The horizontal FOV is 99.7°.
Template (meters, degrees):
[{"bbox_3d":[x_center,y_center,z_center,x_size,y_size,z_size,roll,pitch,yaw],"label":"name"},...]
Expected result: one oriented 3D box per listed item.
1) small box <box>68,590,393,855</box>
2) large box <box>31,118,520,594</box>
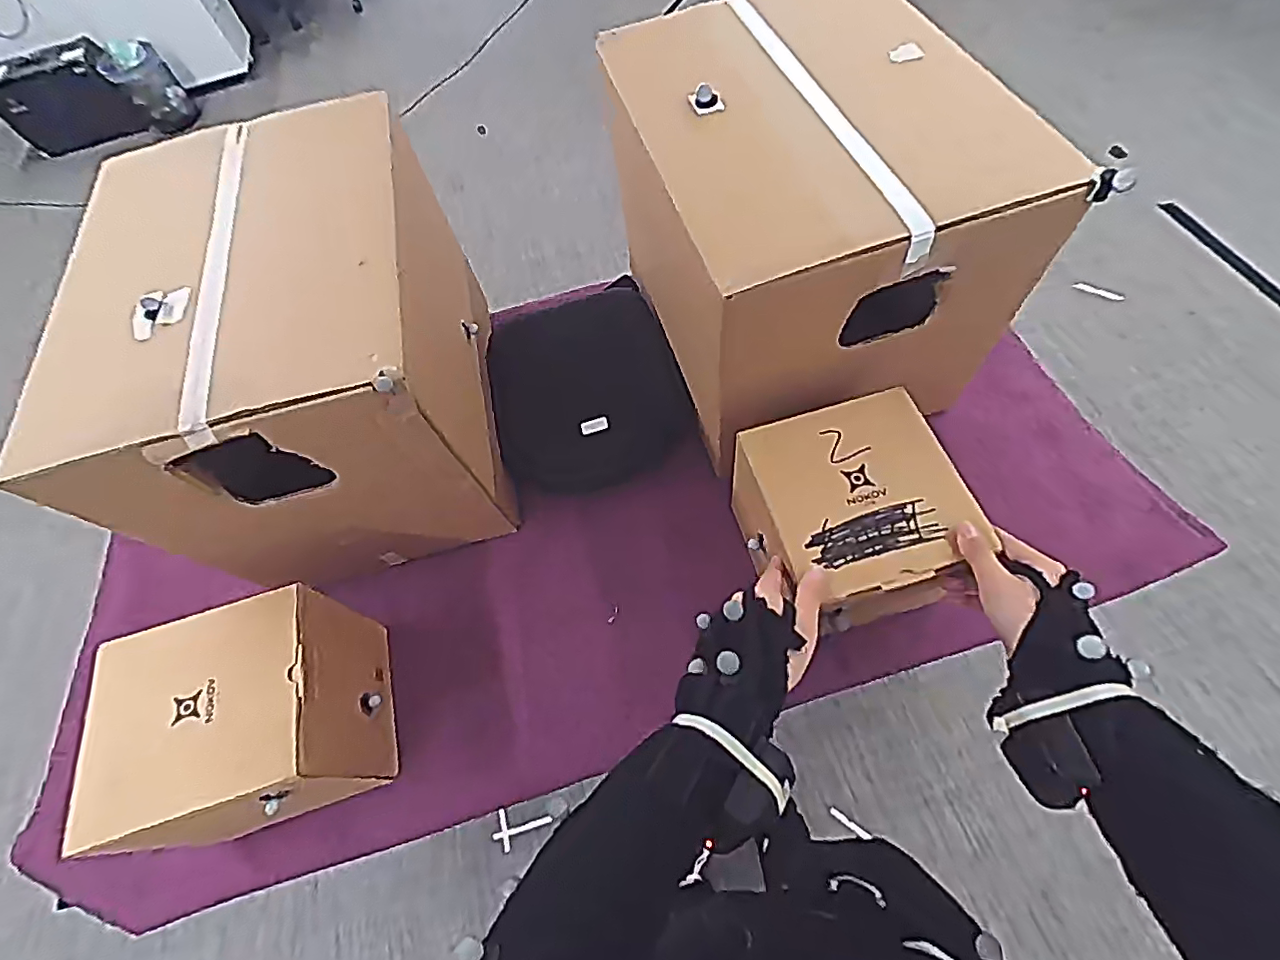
[{"bbox_3d":[-0.367,0.233,0.522,0.179,0.176,0.168,-18,61,-6],"label":"small box"},{"bbox_3d":[-0.359,-0.126,0.636,0.320,0.320,0.408,-16,64,-1],"label":"large box"}]
